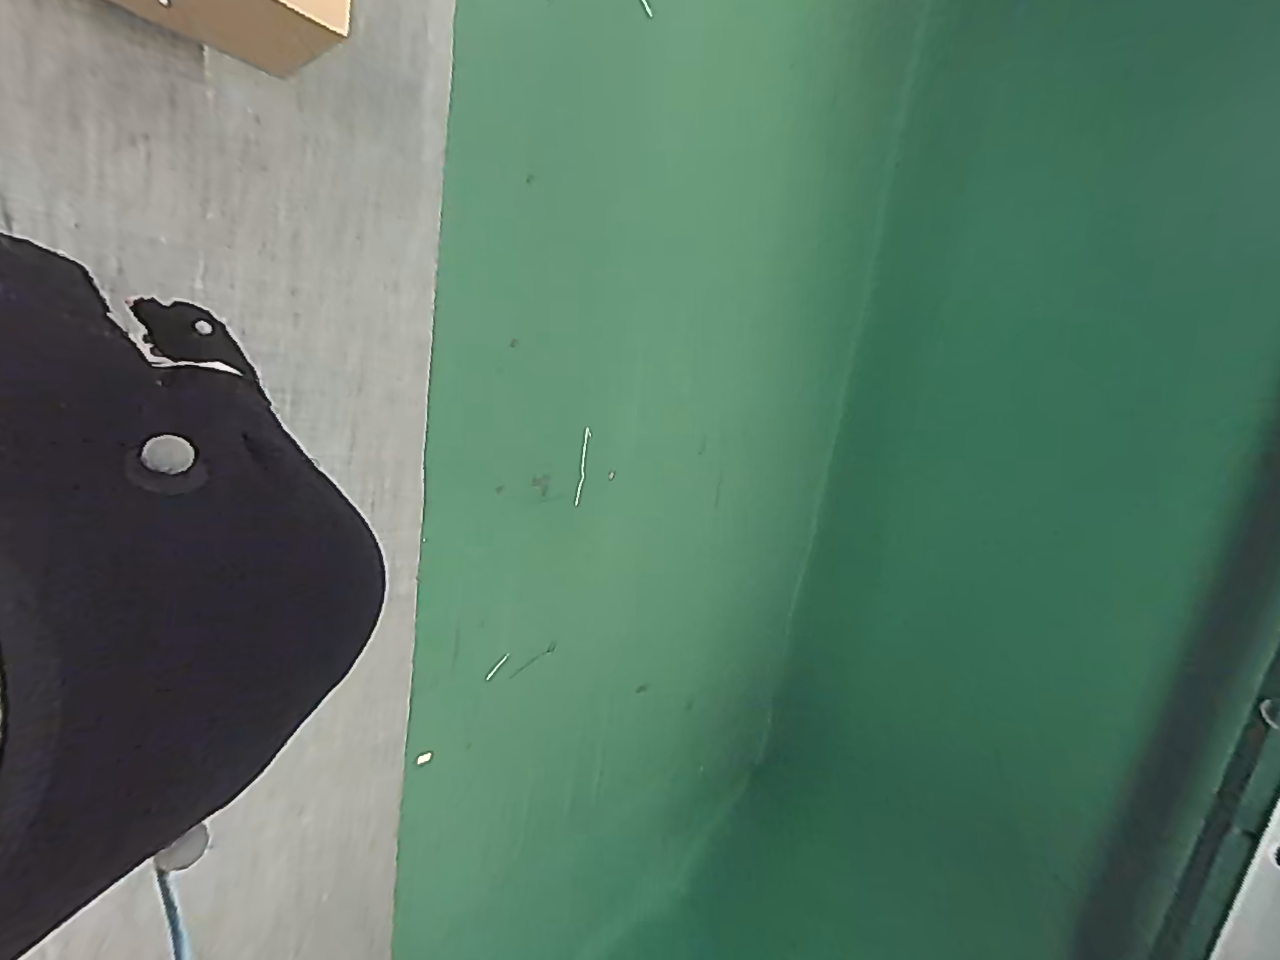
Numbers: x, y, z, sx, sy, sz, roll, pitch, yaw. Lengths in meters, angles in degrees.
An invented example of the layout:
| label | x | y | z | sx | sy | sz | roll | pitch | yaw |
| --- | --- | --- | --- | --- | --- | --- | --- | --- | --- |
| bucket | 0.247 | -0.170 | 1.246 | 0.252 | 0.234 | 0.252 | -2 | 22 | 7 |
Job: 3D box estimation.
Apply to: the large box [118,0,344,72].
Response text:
| label | x | y | z | sx | sy | sz | roll | pitch | yaw |
| --- | --- | --- | --- | --- | --- | --- | --- | --- | --- |
| large box | -0.692 | -0.888 | 0.784 | 0.408 | 0.320 | 0.320 | -3 | 106 | -49 |
